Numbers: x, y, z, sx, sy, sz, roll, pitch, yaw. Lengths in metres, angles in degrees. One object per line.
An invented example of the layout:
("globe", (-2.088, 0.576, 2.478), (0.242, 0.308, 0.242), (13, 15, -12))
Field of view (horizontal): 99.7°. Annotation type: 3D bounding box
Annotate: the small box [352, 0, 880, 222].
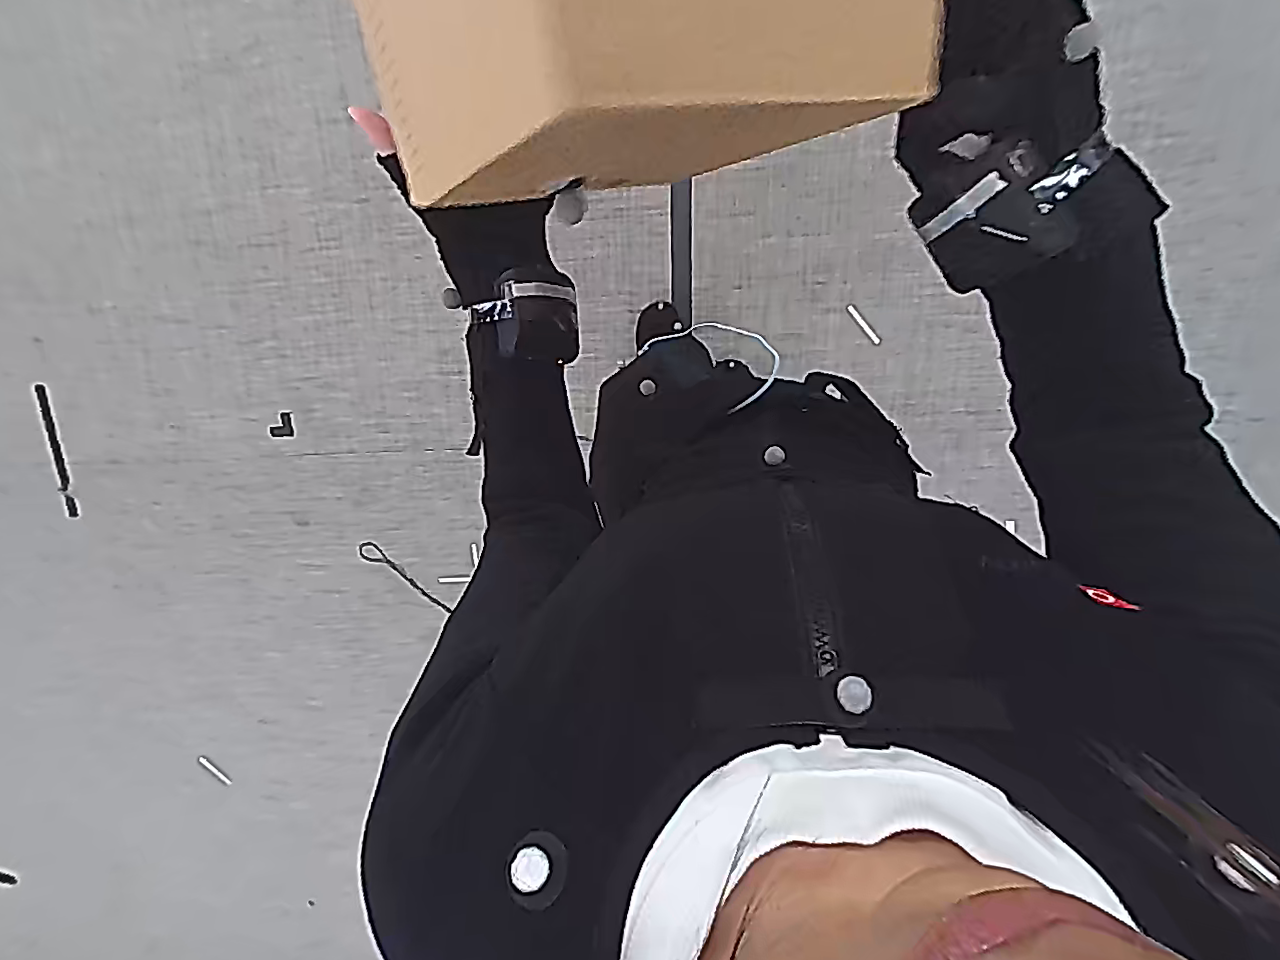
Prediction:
("small box", (-0.026, -0.224, 0.226), (0.168, 0.176, 0.179), (-22, 115, -26))
